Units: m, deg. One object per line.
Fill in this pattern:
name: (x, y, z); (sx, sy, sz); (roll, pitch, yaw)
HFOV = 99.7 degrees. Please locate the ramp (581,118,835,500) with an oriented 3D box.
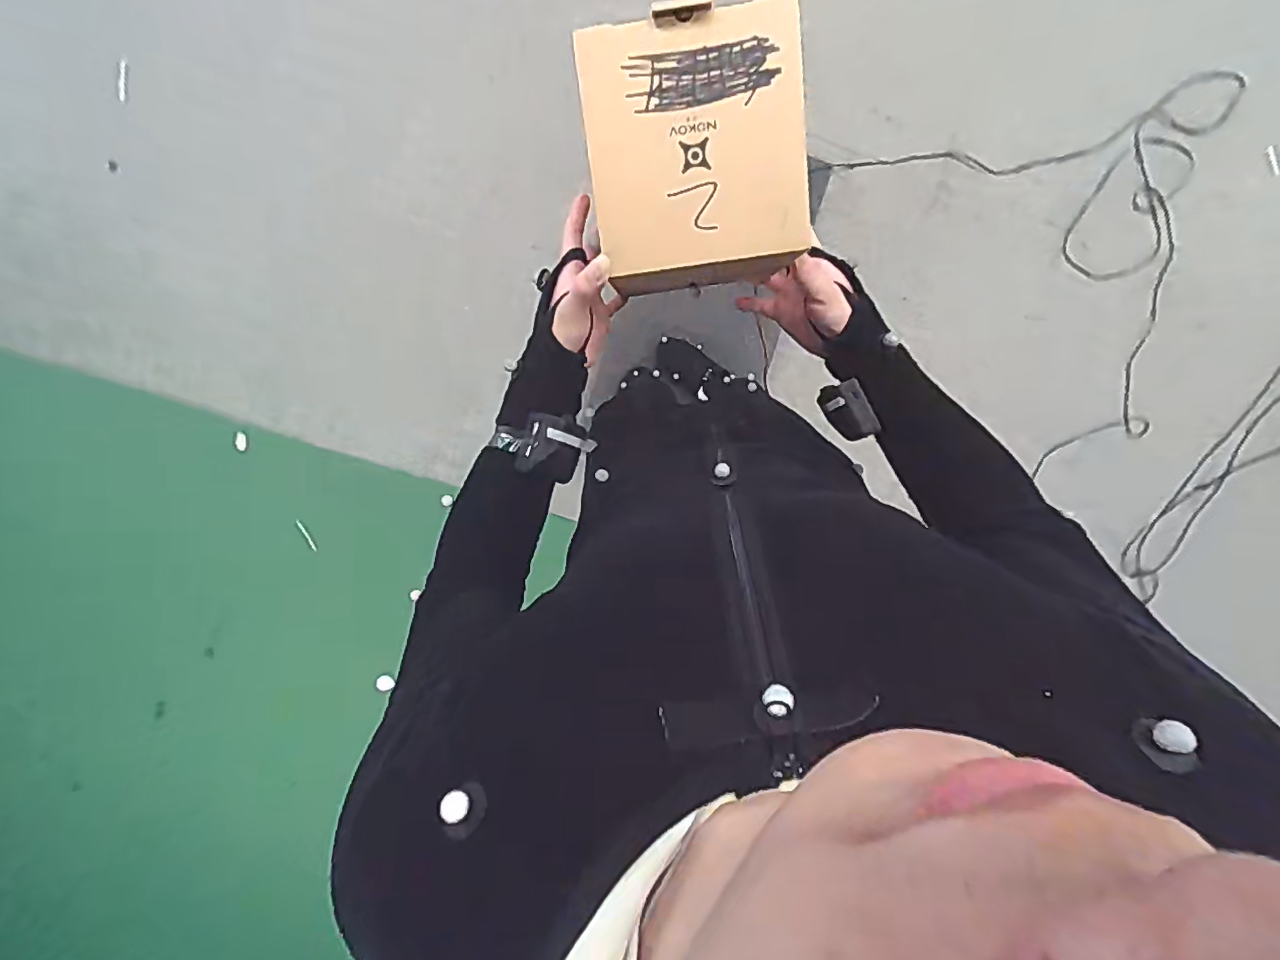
ramp: (0.187, -0.476, 1.572); (0.509, 0.206, 0.991); (15, 106, -2)
